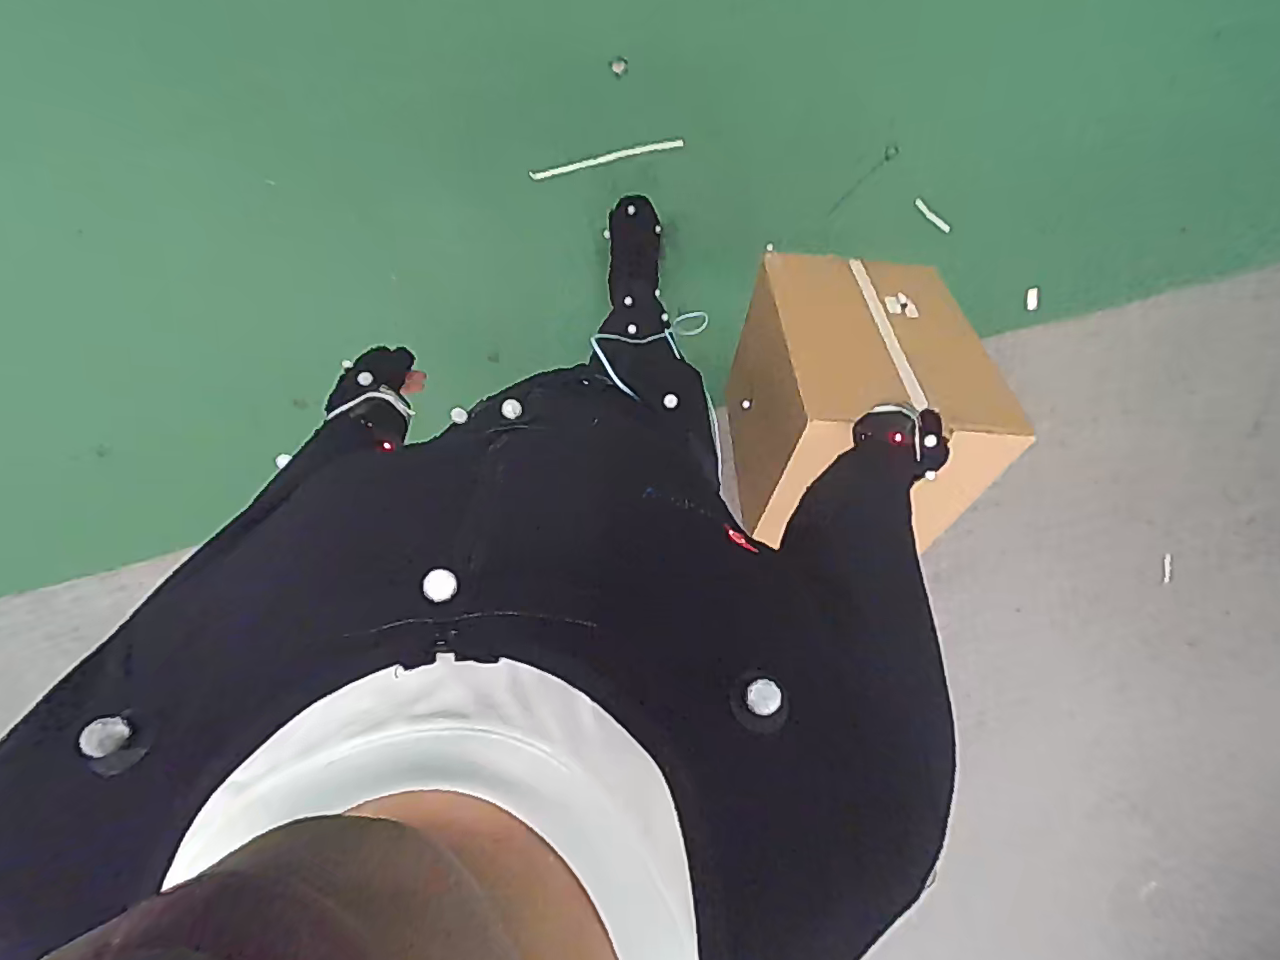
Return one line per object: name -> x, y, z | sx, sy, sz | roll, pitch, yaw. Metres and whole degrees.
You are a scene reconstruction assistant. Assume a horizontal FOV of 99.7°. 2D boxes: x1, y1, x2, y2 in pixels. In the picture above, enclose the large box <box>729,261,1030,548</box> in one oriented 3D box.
large box -> 0.356, -0.129, 0.948 | 0.320, 0.408, 0.320 | 4, 140, -5
